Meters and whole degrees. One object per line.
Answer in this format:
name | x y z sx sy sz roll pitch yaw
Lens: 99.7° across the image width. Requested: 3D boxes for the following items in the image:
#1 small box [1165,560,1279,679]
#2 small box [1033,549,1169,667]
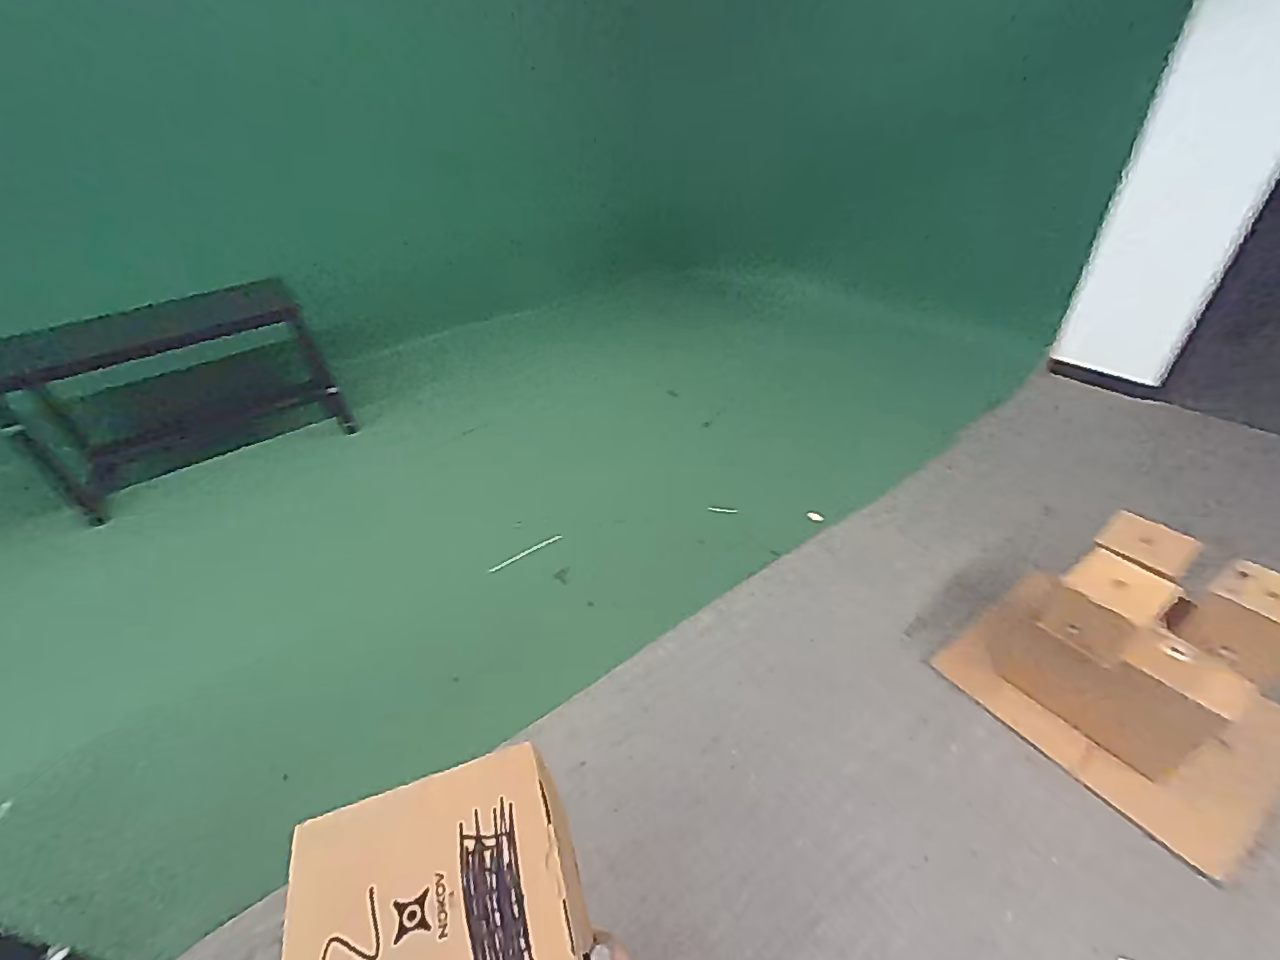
small box | 1.371 0.323 1.229 0.168 0.176 0.179 -23 40 -21
small box | 1.090 0.306 1.293 0.179 0.176 0.168 -27 43 -22
